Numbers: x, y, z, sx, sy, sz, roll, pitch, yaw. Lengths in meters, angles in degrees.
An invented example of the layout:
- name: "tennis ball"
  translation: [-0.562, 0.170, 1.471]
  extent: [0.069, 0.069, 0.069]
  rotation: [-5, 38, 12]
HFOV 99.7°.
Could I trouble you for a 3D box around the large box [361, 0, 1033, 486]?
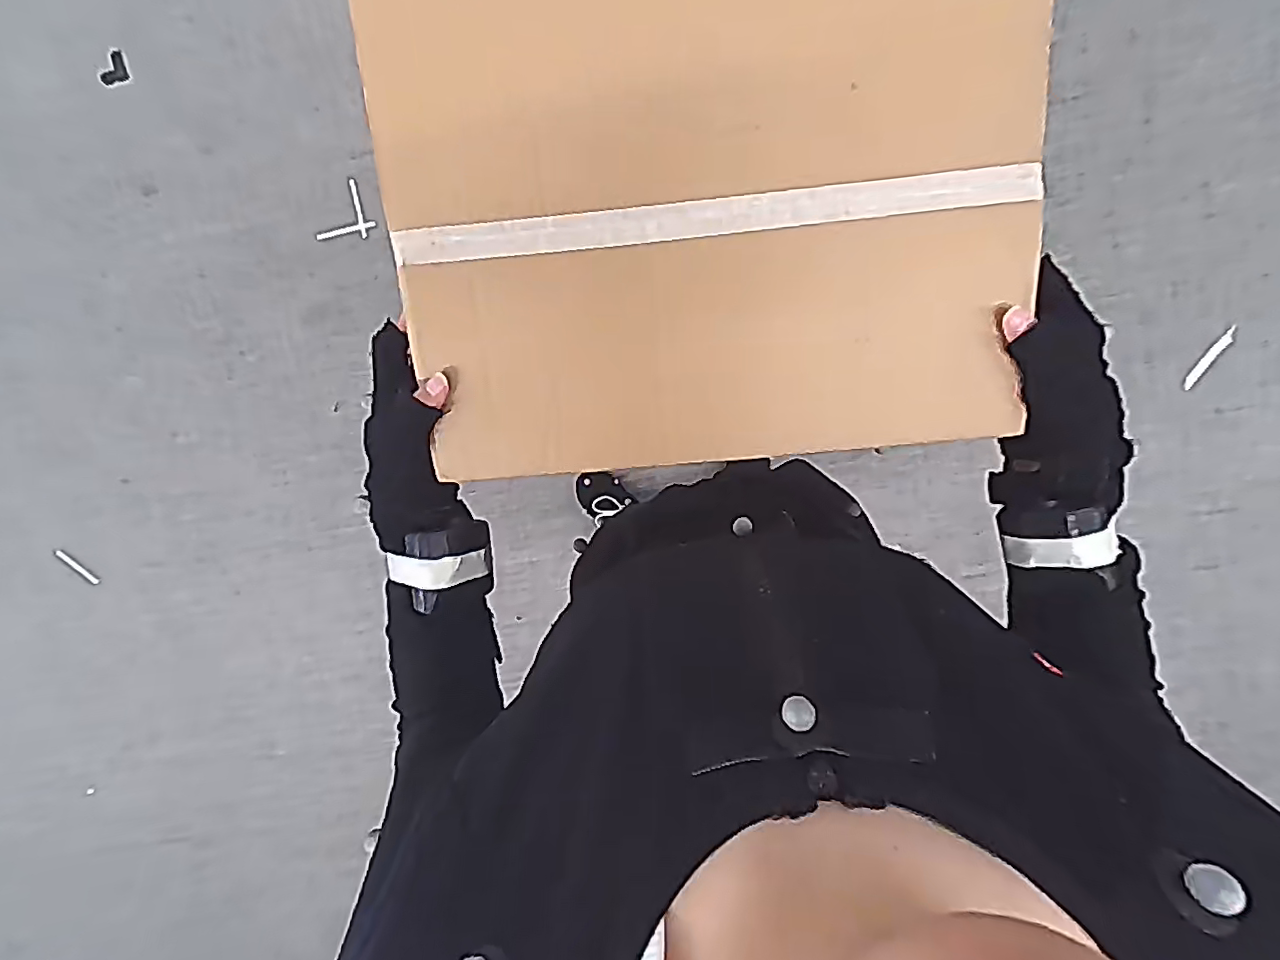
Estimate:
- name: "large box"
  translation: [0.047, -0.198, 0.494]
  extent: [0.408, 0.320, 0.320]
  rotation: [-5, 103, 2]
